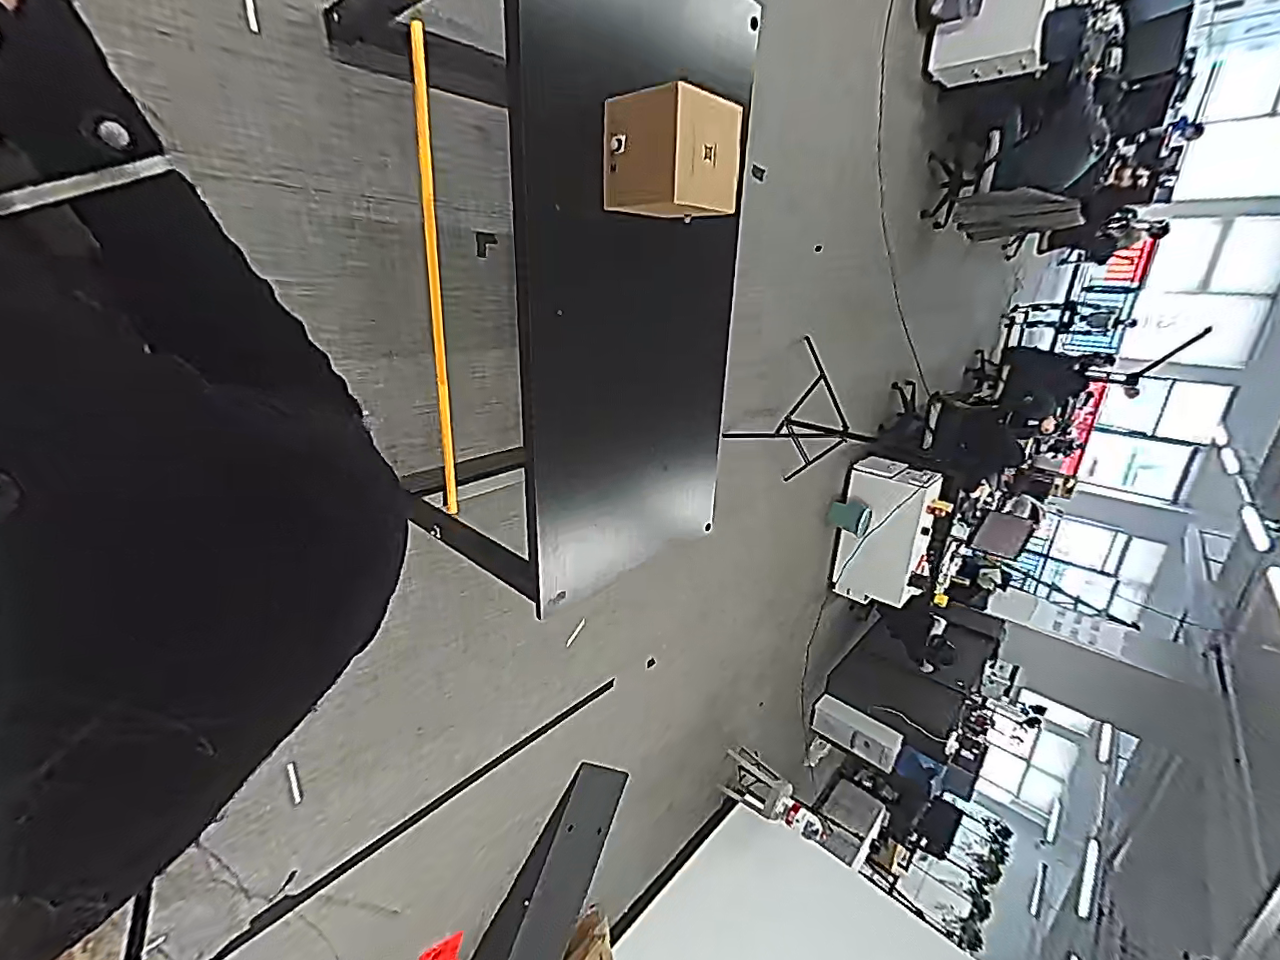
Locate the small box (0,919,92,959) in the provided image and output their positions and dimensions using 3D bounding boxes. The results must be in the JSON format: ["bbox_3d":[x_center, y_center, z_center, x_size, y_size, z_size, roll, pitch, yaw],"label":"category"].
[{"bbox_3d":[-1.336,1.128,1.190,0.168,0.176,0.179,-18,118,-44],"label":"small box"}]

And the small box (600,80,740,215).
[{"bbox_3d":[0.050,-0.559,0.935,0.179,0.176,0.168,-20,119,-43],"label":"small box"}]
